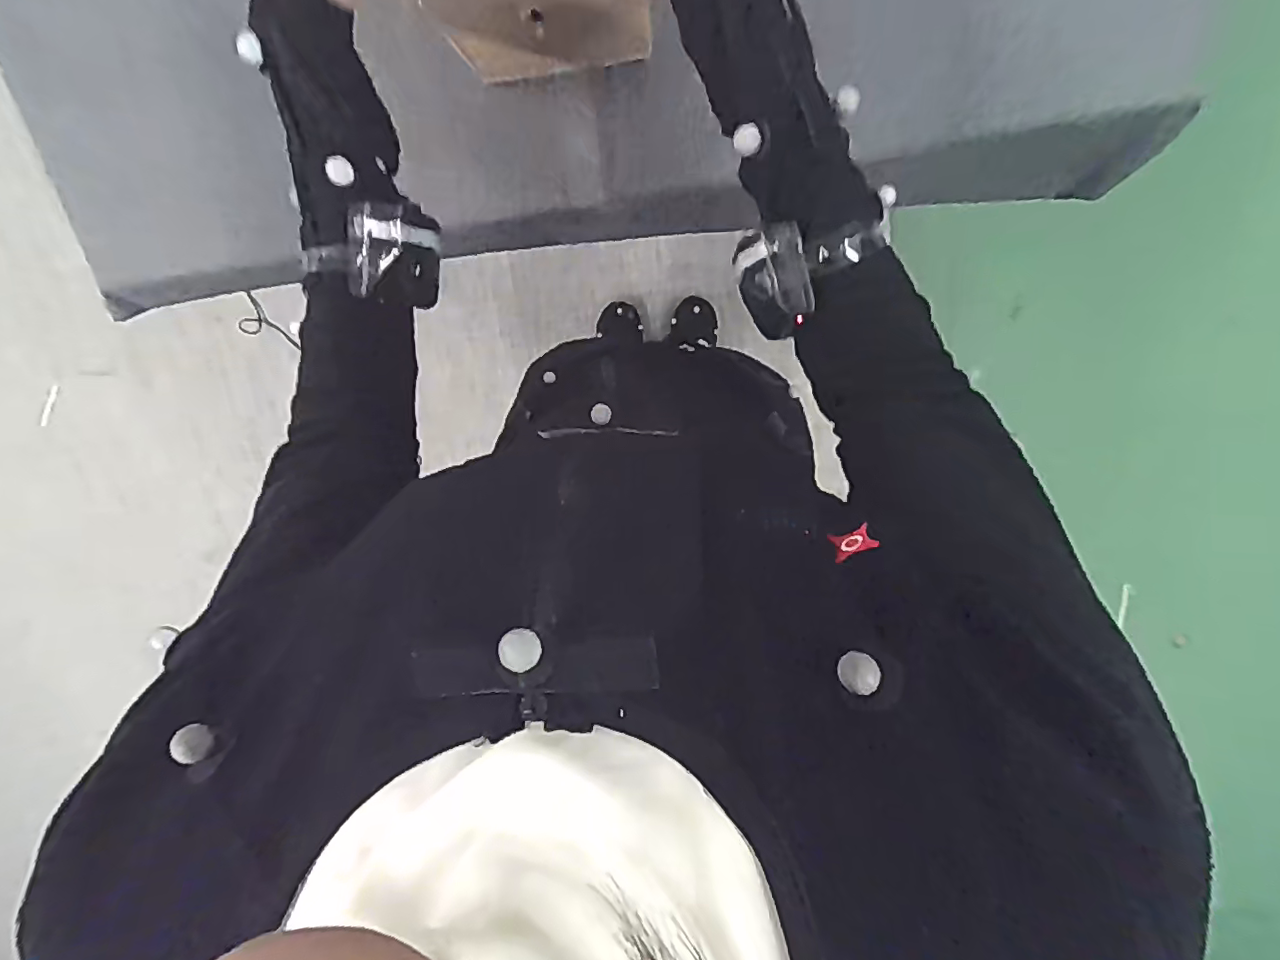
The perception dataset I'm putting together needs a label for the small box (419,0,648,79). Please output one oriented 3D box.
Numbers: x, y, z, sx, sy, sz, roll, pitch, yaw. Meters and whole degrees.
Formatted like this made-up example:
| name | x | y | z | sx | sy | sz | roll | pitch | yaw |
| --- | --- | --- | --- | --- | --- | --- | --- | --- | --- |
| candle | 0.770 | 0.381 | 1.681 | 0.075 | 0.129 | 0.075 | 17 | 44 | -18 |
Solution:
| name | x | y | z | sx | sy | sz | roll | pitch | yaw |
| --- | --- | --- | --- | --- | --- | --- | --- | --- | --- |
| small box | -0.089 | -0.472 | 0.457 | 0.179 | 0.176 | 0.168 | -6 | 110 | 4 |
